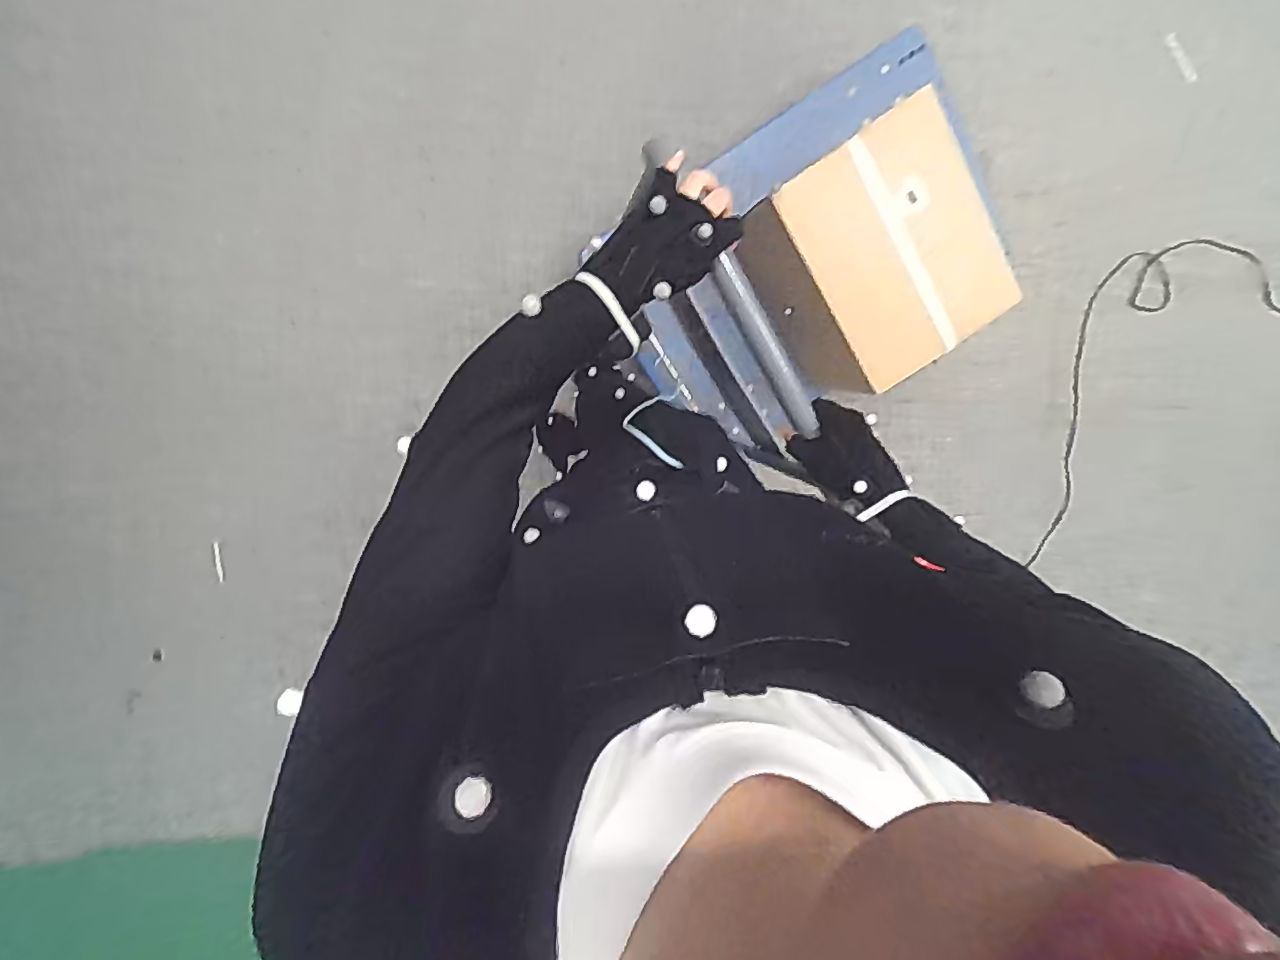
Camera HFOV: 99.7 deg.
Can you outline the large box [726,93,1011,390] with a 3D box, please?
[{"bbox_3d":[0.430,-0.435,1.093,0.320,0.320,0.408,-34,102,3],"label":"large box"}]
